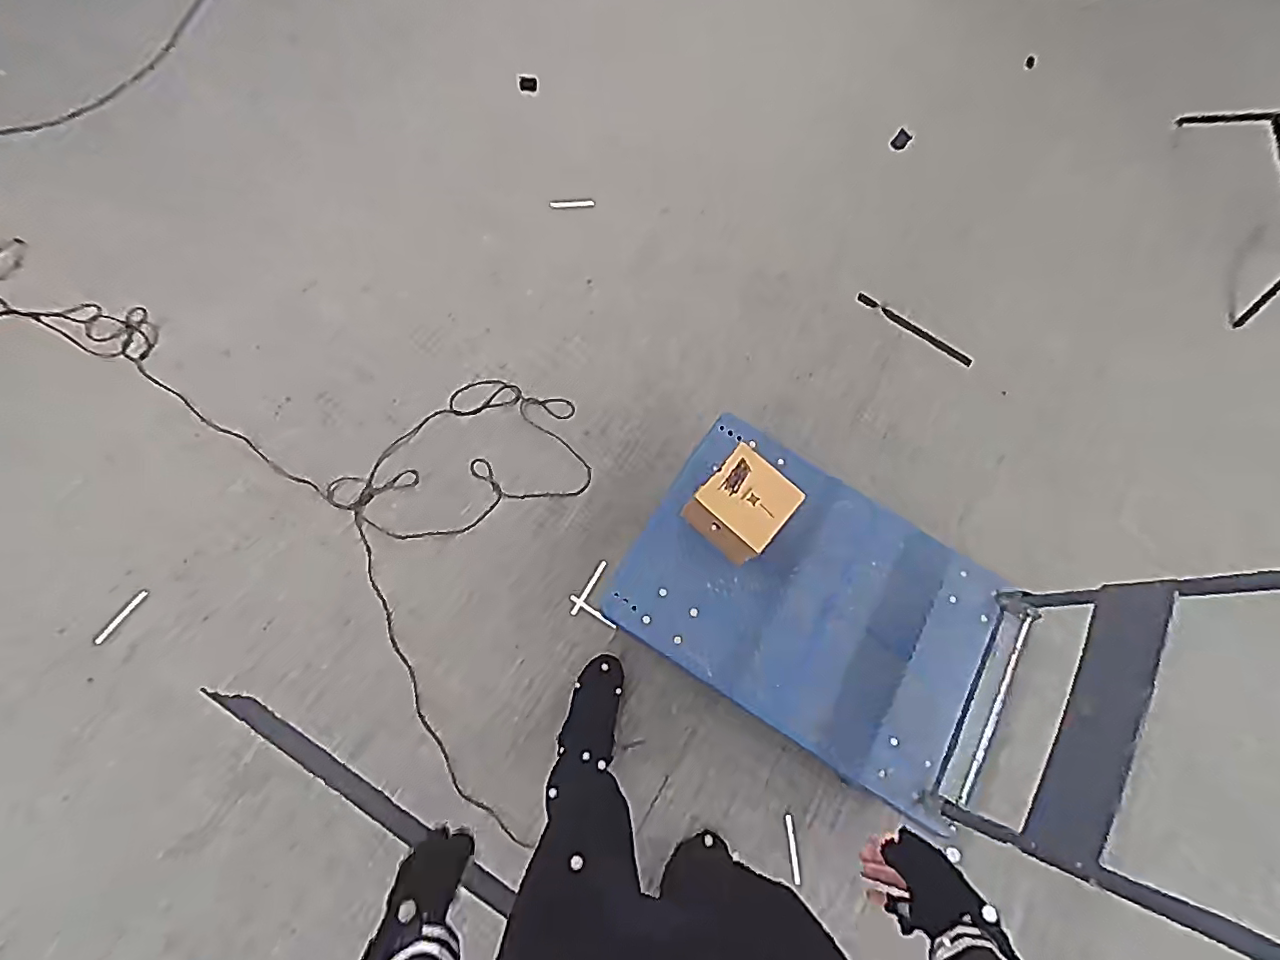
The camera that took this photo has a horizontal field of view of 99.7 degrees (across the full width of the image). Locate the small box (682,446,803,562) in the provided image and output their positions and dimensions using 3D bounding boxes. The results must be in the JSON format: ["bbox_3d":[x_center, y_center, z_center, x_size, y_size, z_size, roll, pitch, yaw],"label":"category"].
[{"bbox_3d":[0.214,0.061,1.182,0.179,0.176,0.168,42,74,7],"label":"small box"}]
